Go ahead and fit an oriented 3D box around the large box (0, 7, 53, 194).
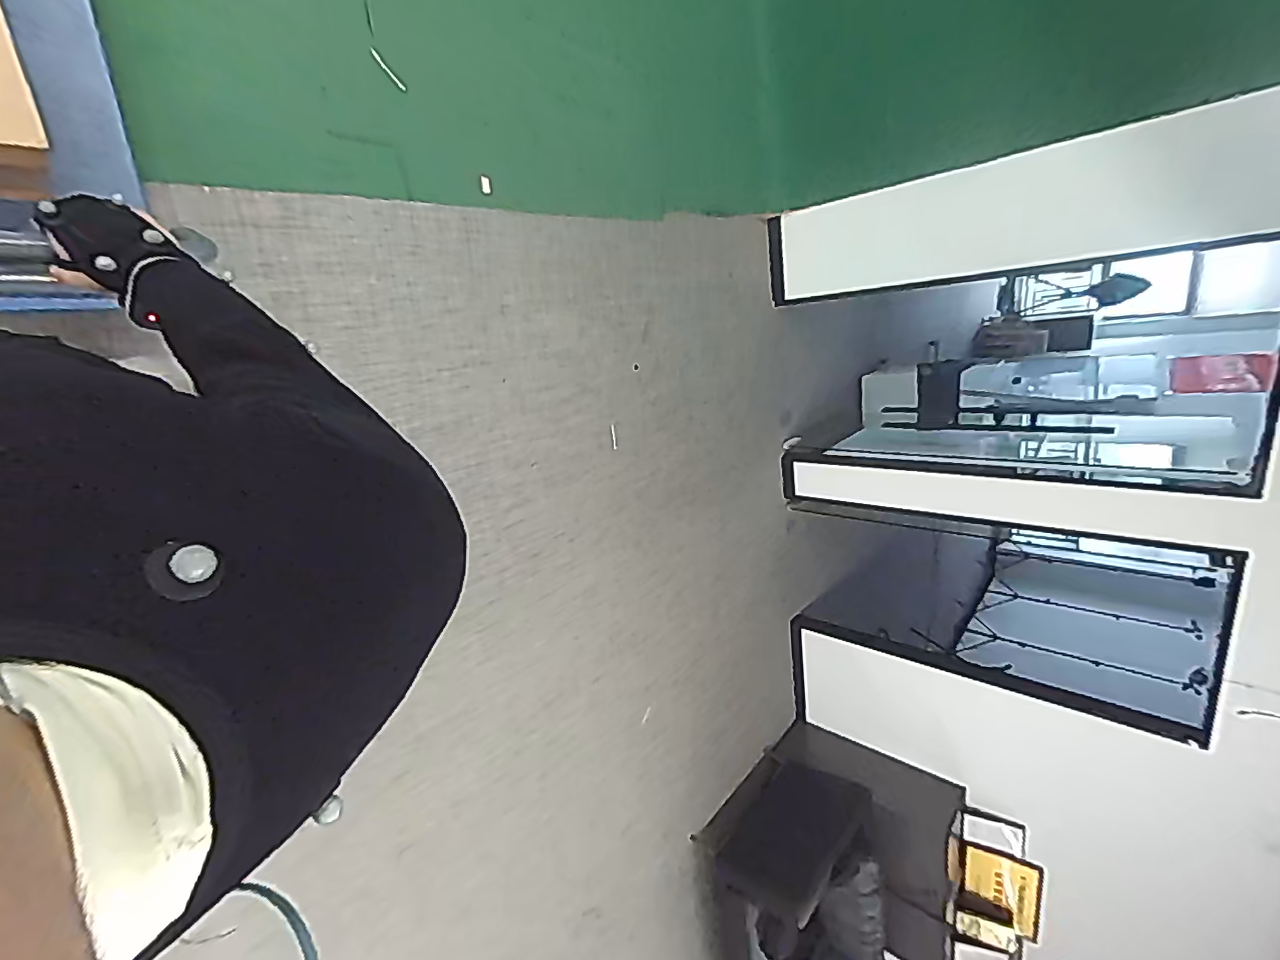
[{"bbox_3d":[-1.094,-0.648,0.731,0.320,0.320,0.408,-22,112,-43],"label":"large box"}]
